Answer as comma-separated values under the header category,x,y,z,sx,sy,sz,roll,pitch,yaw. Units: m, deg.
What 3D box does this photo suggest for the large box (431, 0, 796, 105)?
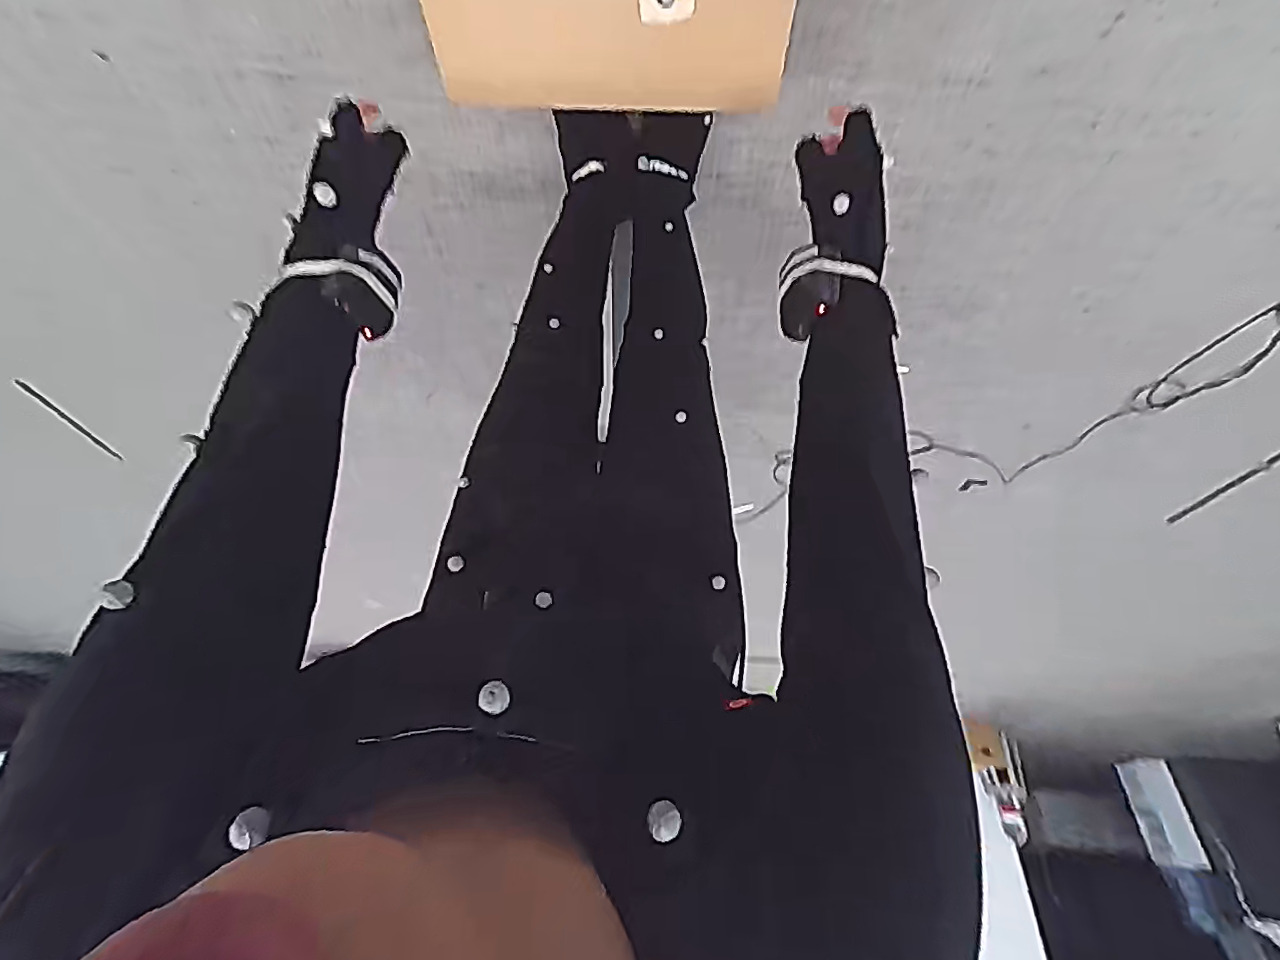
category,x,y,z,sx,sy,sz,roll,pitch,yaw
large box,-0.027,-0.672,0.623,0.408,0.320,0.320,2,146,3
